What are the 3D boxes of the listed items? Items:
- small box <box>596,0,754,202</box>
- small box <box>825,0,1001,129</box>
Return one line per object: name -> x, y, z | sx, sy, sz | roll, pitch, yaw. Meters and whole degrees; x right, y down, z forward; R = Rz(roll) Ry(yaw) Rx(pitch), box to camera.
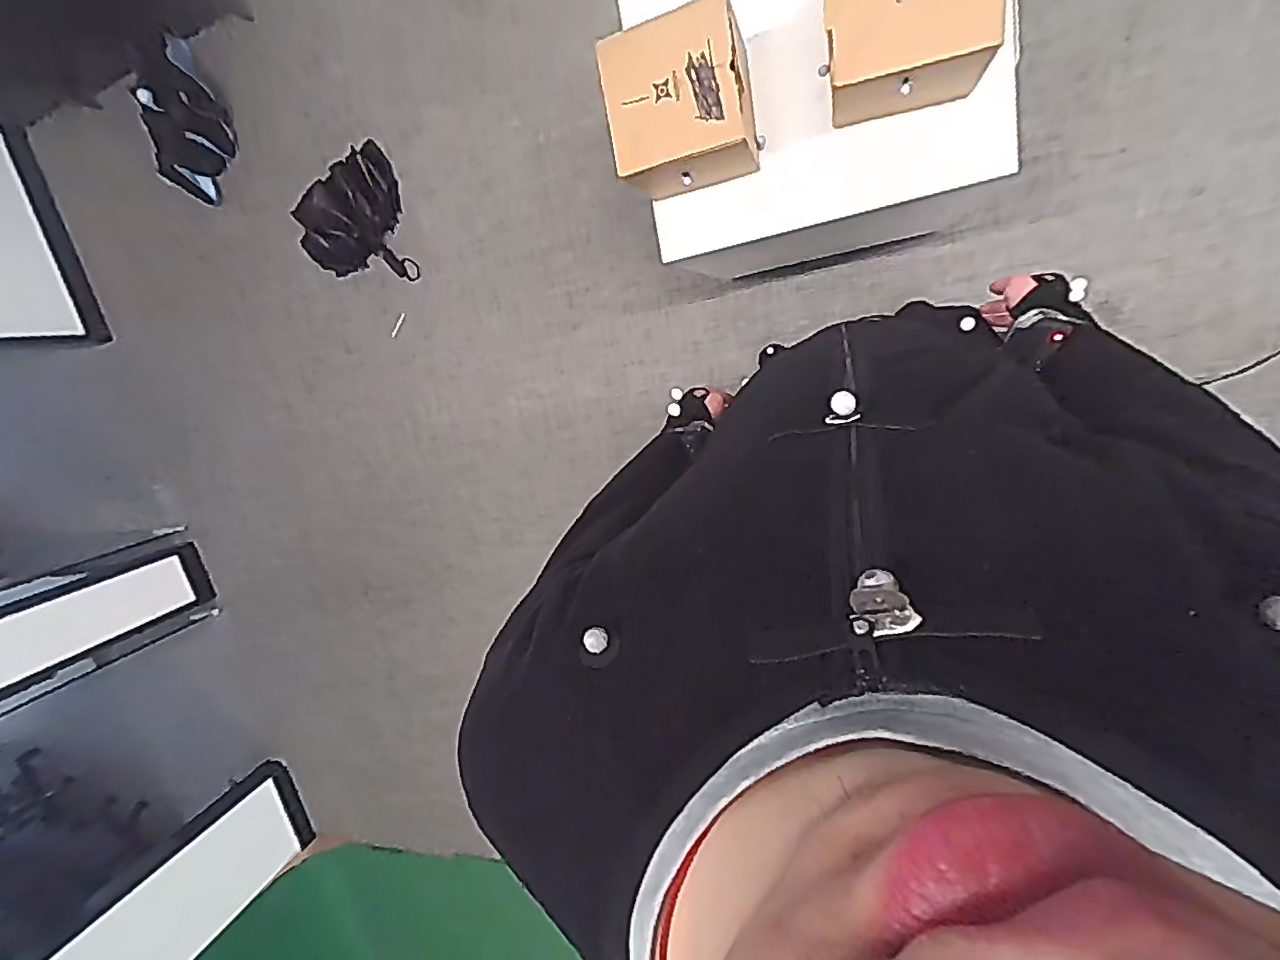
small box -> 0.061, -0.514, 0.763 | 0.179, 0.176, 0.168 | -5, 104, 21
small box -> 0.320, -0.557, 0.659 | 0.179, 0.176, 0.168 | -2, 107, 20
